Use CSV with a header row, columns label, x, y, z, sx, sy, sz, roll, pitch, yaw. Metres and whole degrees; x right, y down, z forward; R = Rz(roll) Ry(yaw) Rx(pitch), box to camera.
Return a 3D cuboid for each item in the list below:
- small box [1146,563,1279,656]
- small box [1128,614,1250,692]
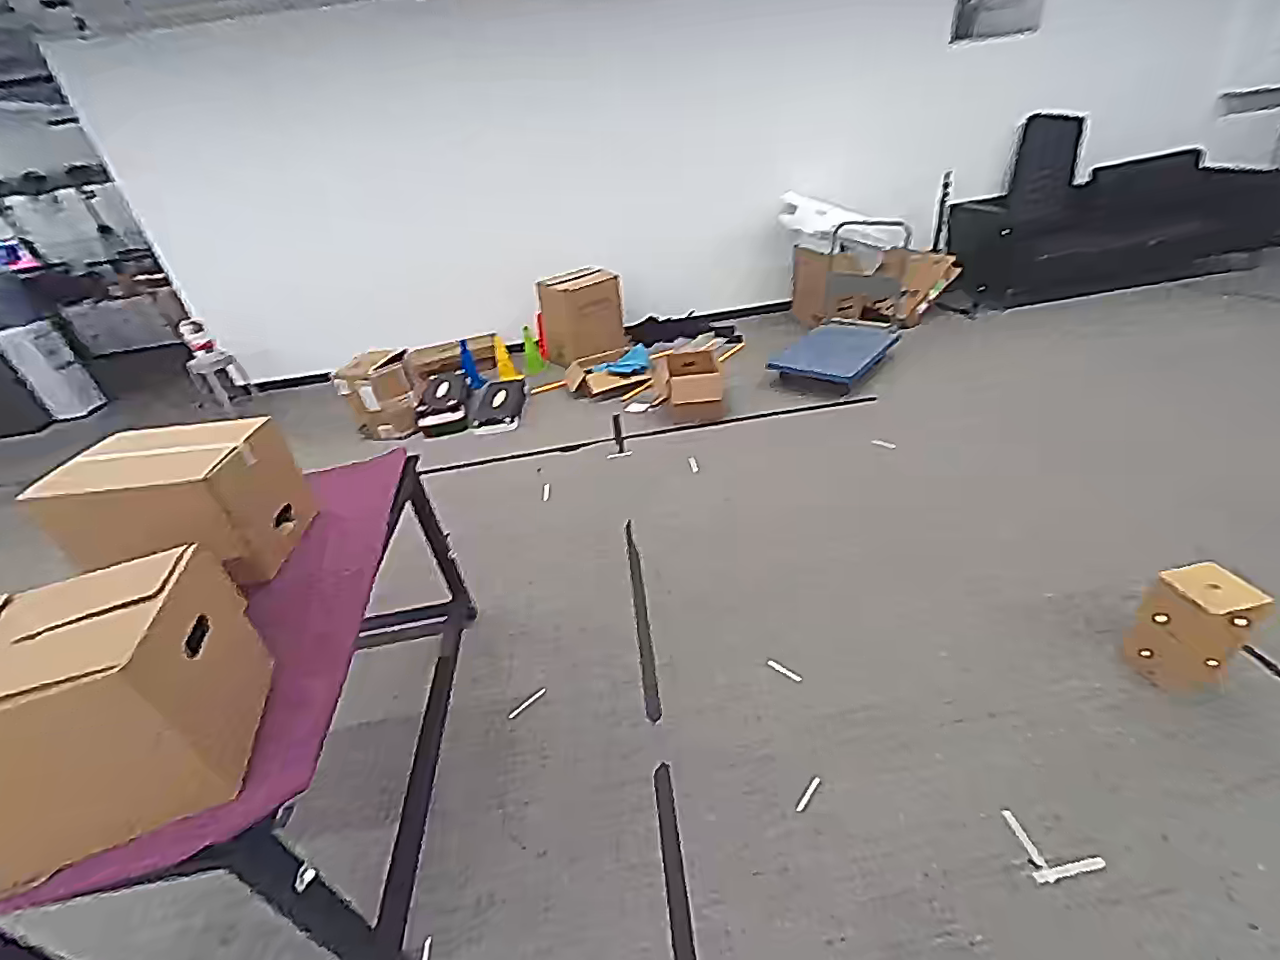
label,x,y,z,sx,sy,sz,roll,pitch,yaw
small box,1.578,0.360,1.503,0.179,0.176,0.168,-11,33,-3
small box,1.597,0.496,1.591,0.179,0.176,0.168,-11,33,-5
